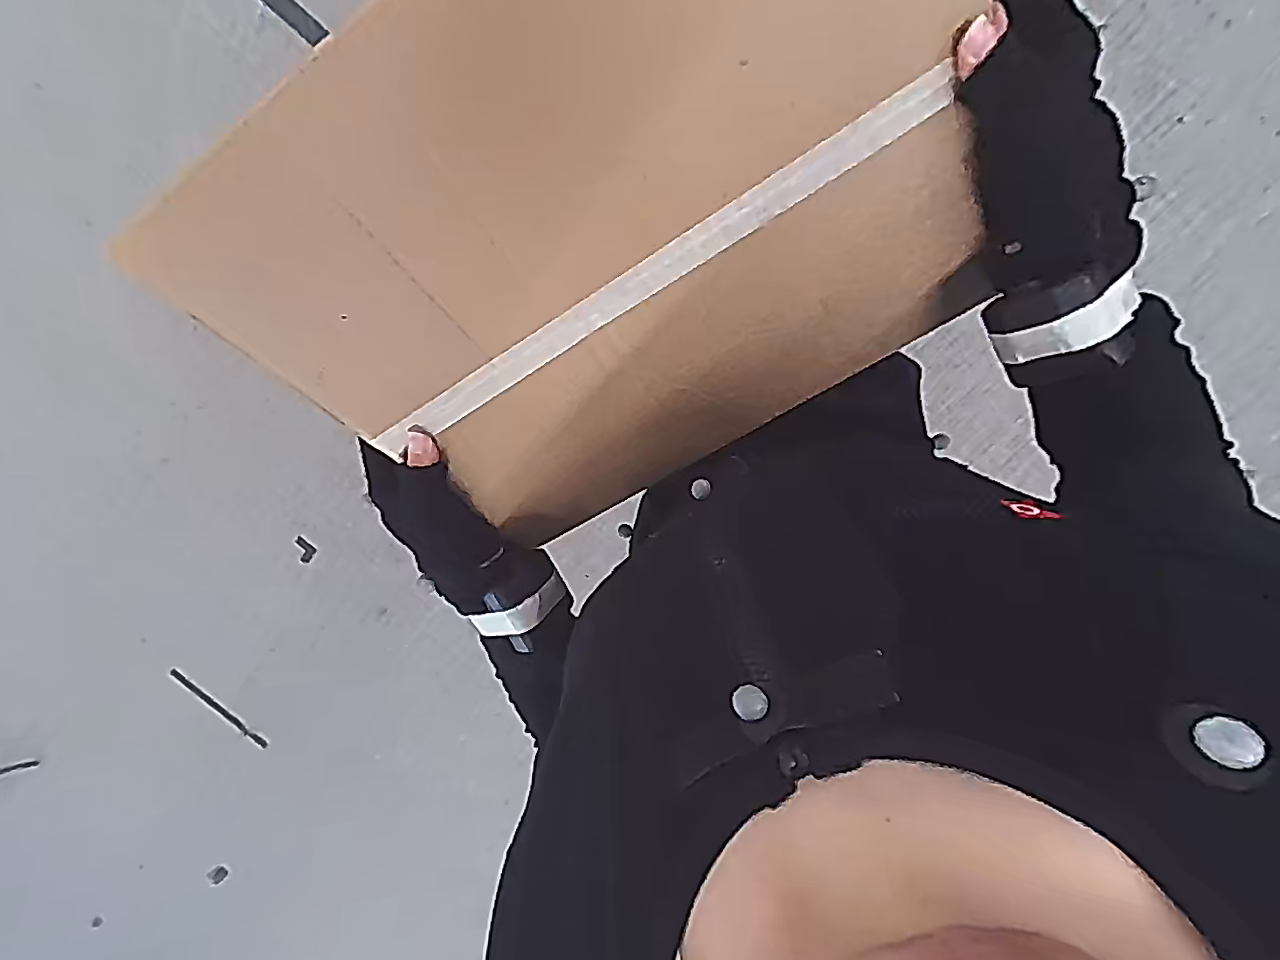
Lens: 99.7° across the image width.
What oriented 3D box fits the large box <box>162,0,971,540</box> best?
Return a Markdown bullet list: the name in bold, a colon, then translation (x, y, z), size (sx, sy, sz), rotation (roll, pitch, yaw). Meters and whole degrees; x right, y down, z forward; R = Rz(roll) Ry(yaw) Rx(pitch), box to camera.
- **large box**: translation (-0.033, -0.224, 0.427), size (0.408, 0.320, 0.320), rotation (-29, 136, 13)
